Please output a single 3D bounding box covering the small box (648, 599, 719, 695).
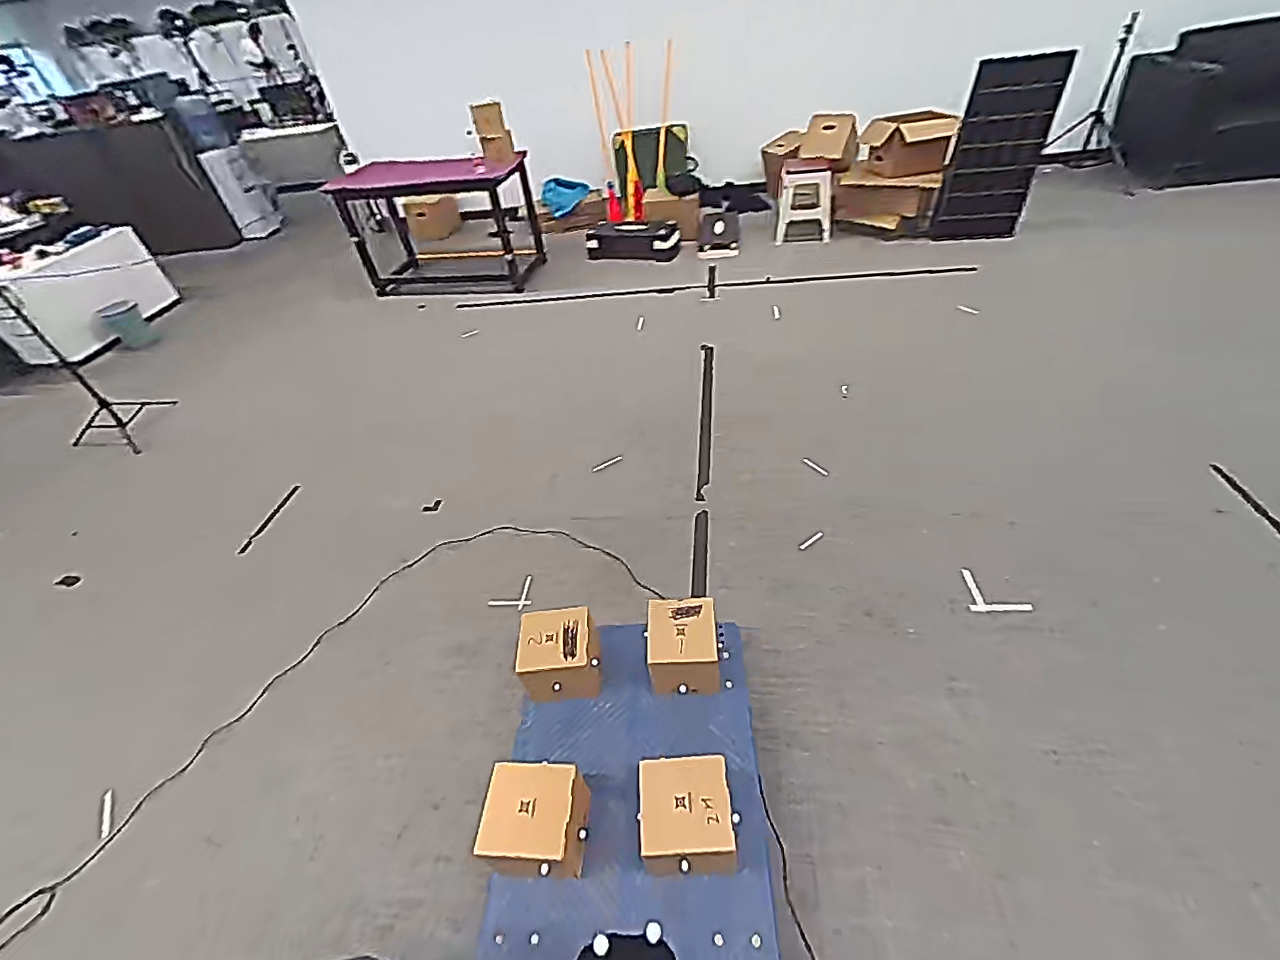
[{"bbox_3d":[0.110,0.421,1.362,0.168,0.176,0.179,-4,44,6],"label":"small box"}]

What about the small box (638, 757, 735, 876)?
[{"bbox_3d":[0.094,0.678,1.086,0.179,0.176,0.168,-5,43,4],"label":"small box"}]

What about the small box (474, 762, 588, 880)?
[{"bbox_3d":[-0.213,0.702,1.112,0.179,0.176,0.168,-1,42,6],"label":"small box"}]
